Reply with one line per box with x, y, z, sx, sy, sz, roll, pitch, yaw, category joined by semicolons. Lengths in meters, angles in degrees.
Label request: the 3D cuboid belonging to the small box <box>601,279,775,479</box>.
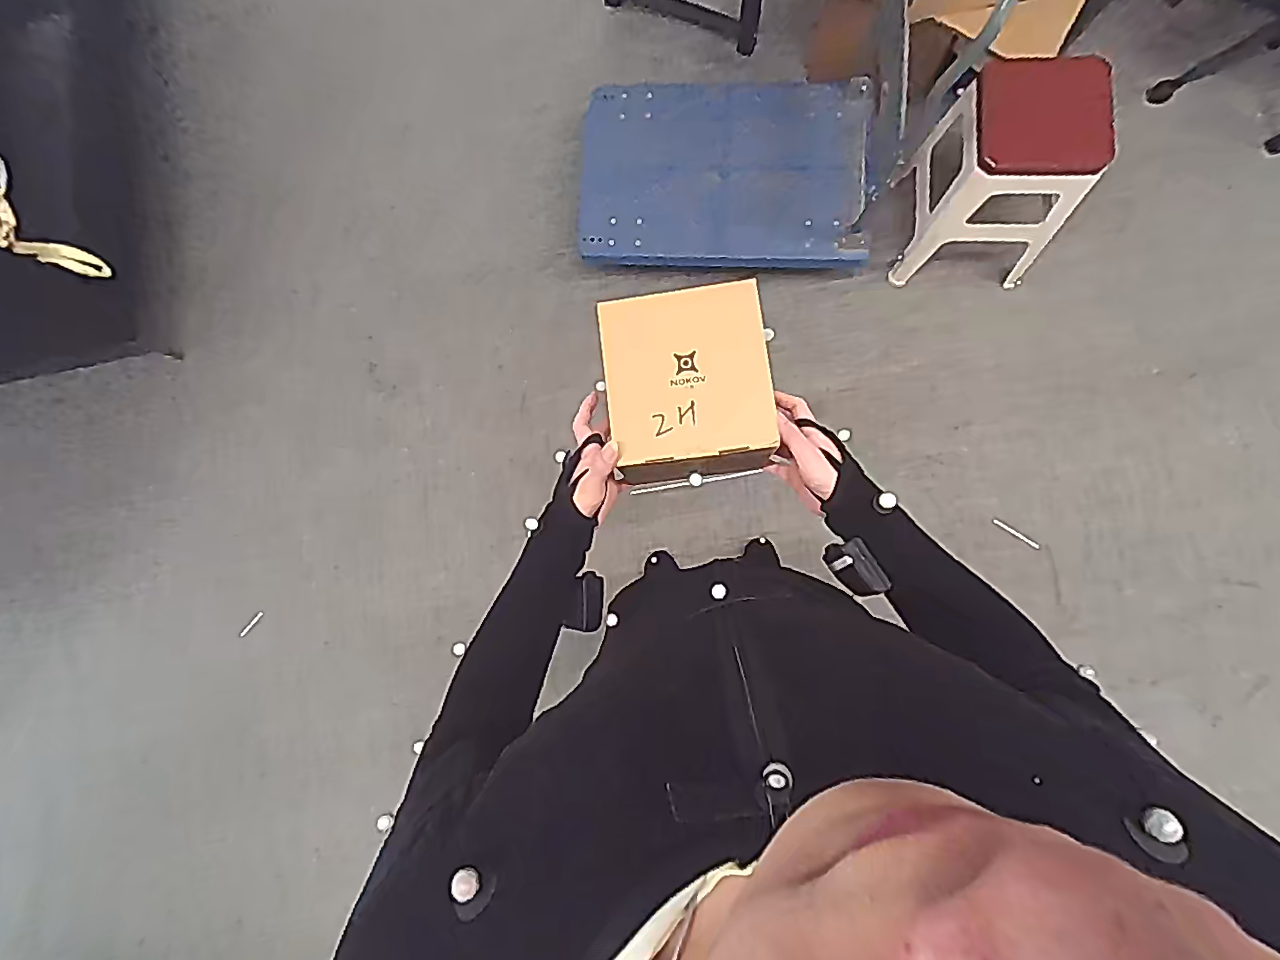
0.052;-0.104;0.629;0.168;0.176;0.179;-6;83;5;small box
